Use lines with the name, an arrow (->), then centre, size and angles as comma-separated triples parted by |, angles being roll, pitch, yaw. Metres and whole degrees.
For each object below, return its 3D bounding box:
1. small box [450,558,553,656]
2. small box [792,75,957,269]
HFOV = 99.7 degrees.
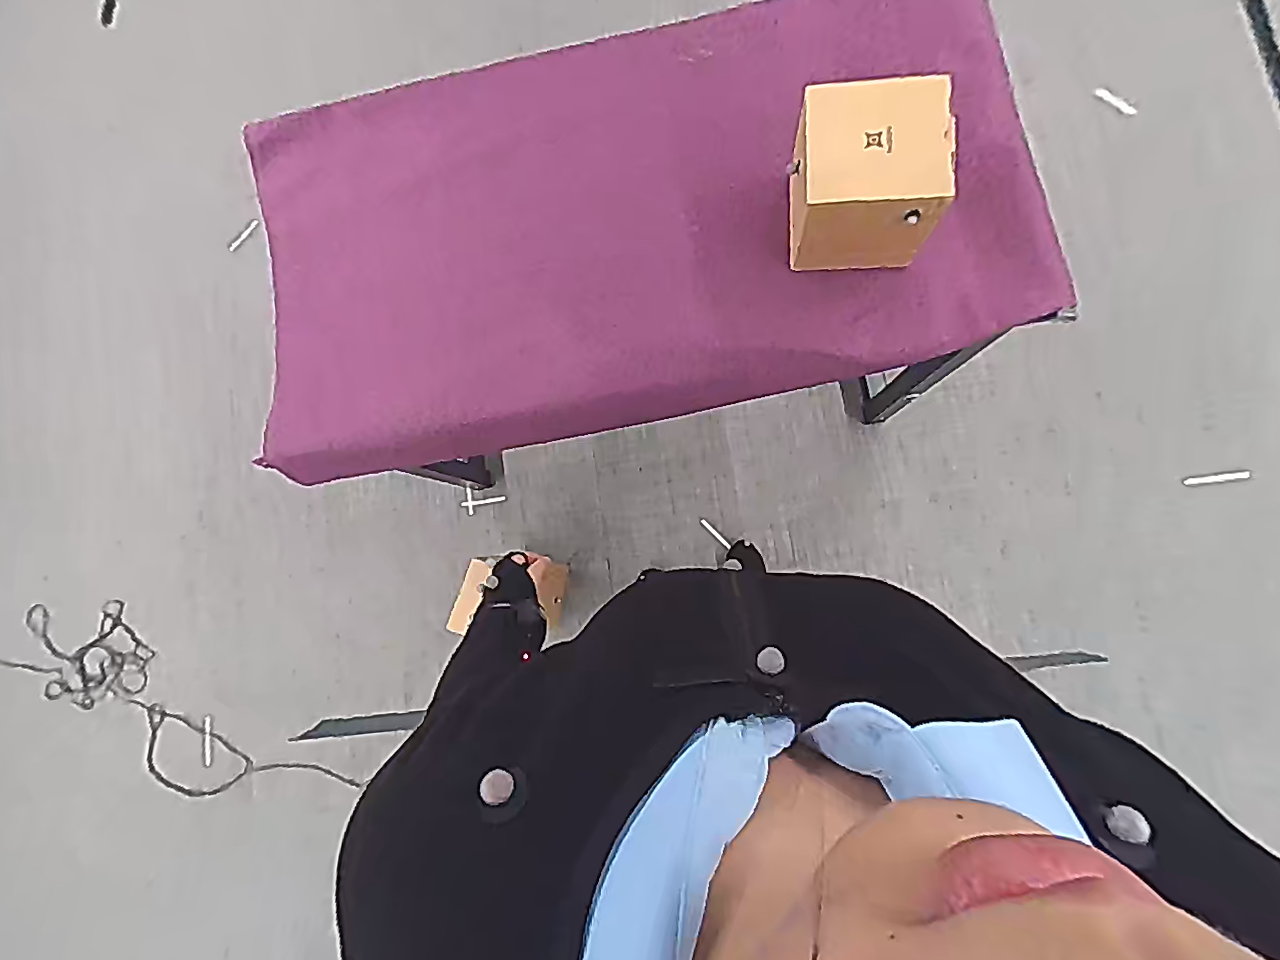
small box -> -0.323, 0.296, 1.306 | 0.168, 0.176, 0.179 | 19, 86, 8
small box -> 0.307, -0.410, 0.748 | 0.179, 0.176, 0.168 | 0, 83, 8
